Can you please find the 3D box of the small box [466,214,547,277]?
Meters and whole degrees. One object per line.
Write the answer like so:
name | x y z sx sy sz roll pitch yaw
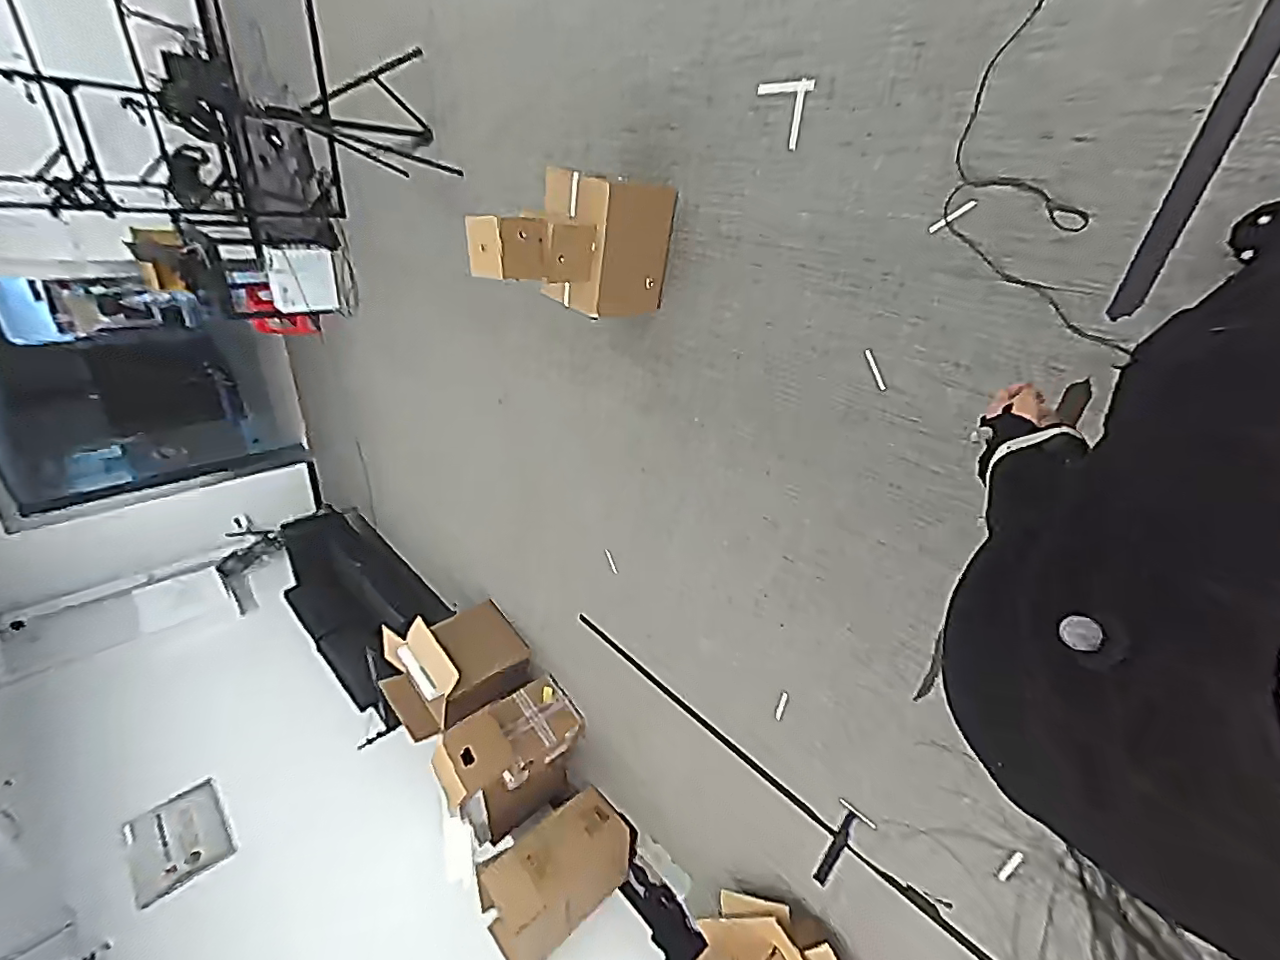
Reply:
small box | -0.388 -0.696 1.598 0.179 0.176 0.168 22 121 40

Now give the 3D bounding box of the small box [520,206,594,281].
small box | -0.263 -0.741 1.693 0.168 0.176 0.179 37 130 30
